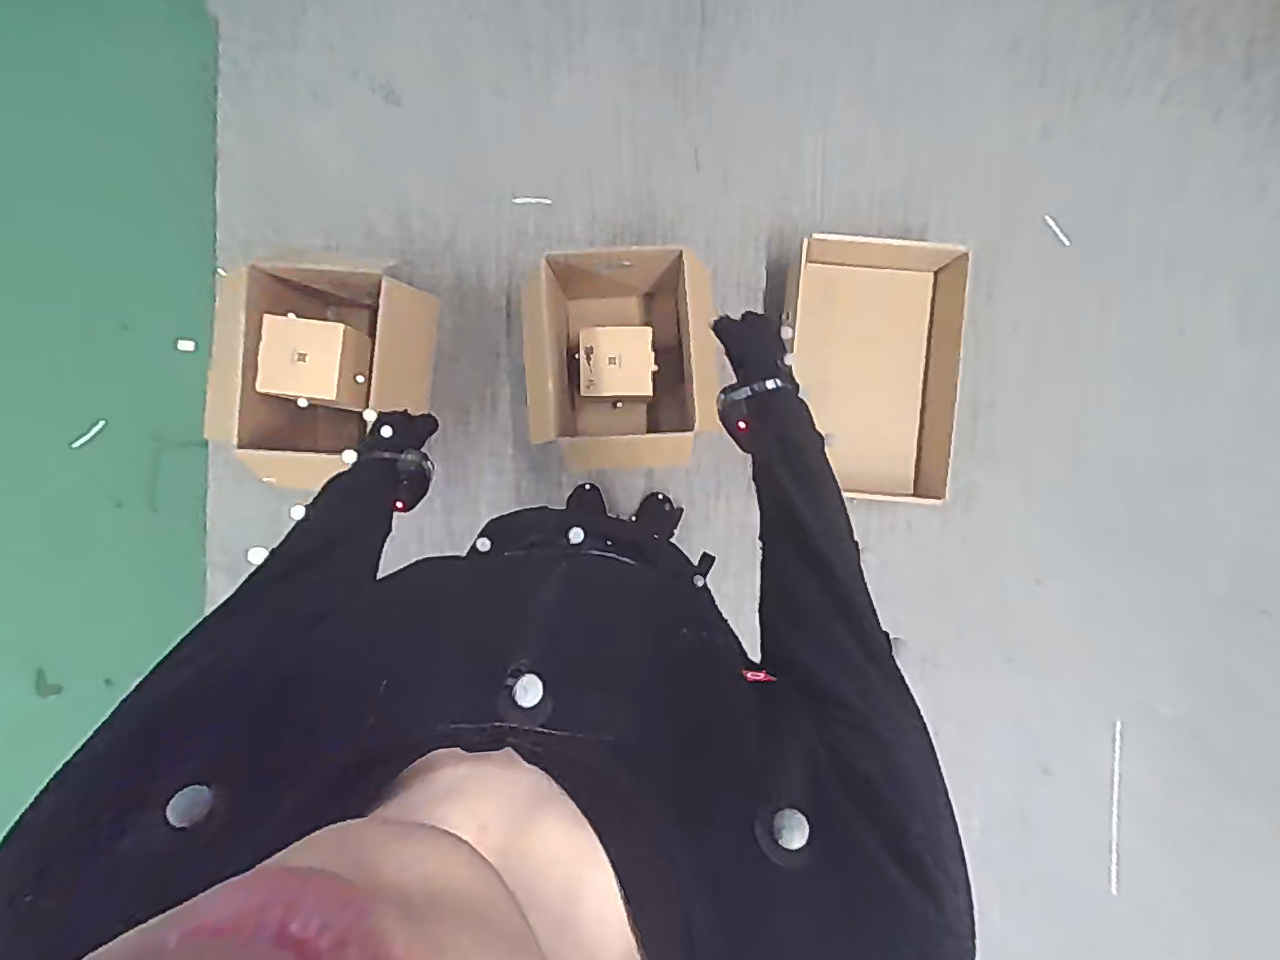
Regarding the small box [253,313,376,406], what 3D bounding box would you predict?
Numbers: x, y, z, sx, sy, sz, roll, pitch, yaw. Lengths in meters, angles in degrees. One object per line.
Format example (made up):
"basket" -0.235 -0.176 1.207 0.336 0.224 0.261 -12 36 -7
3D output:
"small box" -0.723 -0.264 1.220 0.179 0.176 0.168 6 90 0
